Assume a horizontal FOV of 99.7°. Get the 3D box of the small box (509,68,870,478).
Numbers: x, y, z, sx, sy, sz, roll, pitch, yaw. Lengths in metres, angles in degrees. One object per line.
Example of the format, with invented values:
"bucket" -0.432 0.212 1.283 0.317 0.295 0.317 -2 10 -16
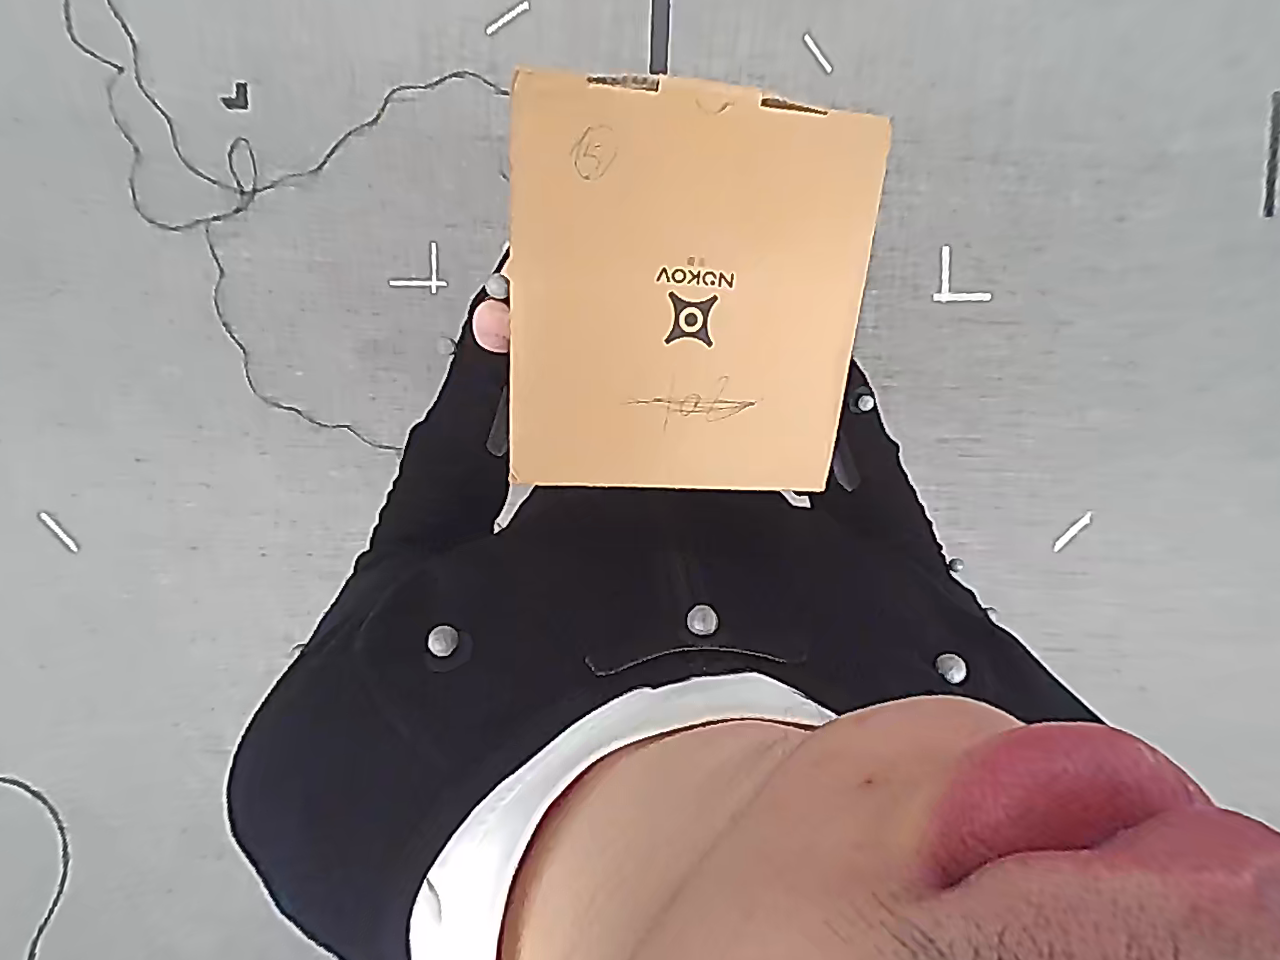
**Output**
"small box" 0.009 -0.111 0.338 0.168 0.176 0.179 2 109 -9
